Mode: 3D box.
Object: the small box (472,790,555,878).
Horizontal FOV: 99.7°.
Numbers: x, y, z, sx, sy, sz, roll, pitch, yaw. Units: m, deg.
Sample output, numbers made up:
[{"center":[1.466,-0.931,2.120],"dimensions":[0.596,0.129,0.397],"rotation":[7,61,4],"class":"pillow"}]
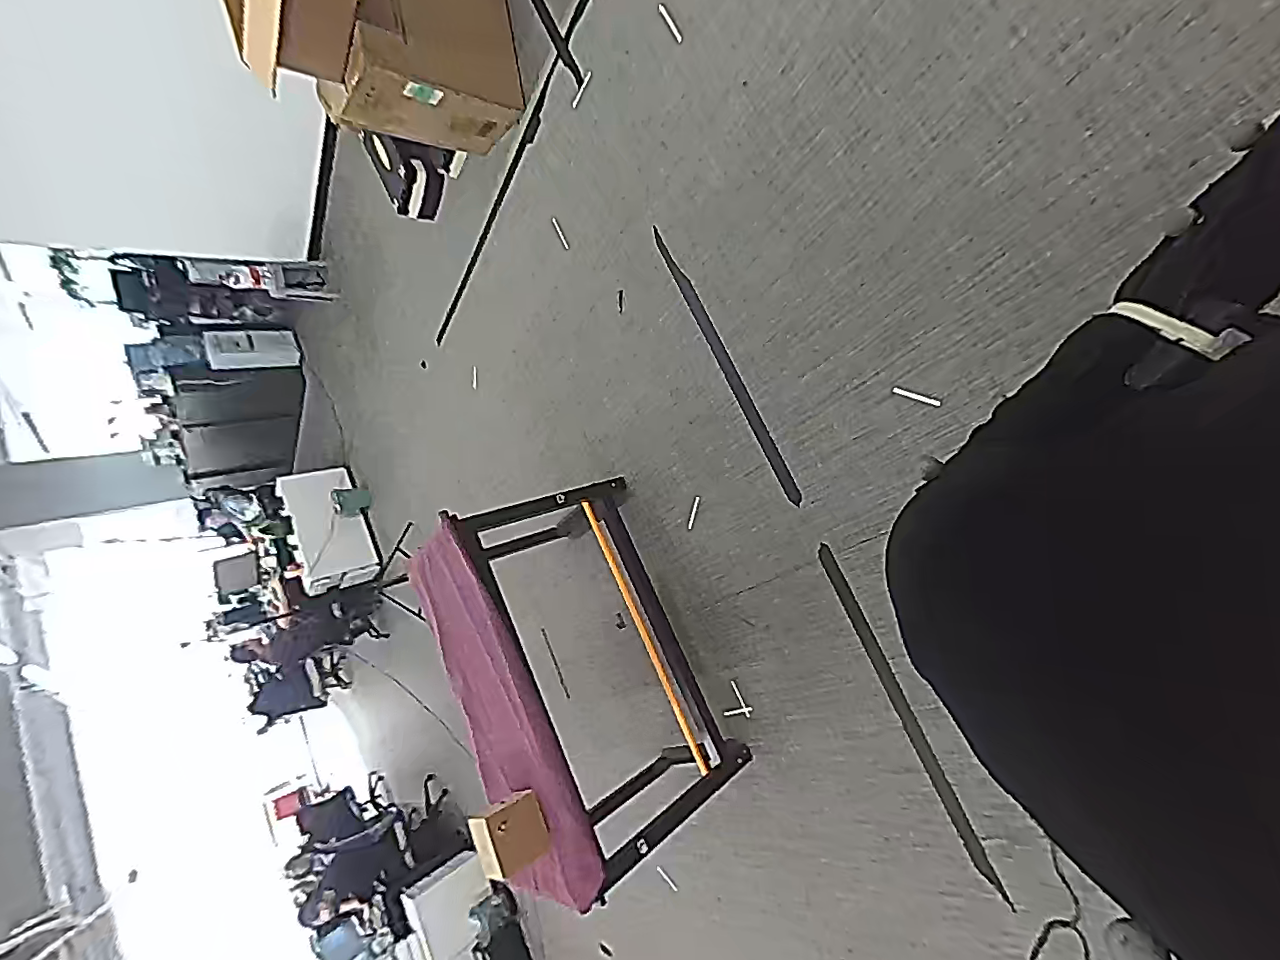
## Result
[{"center":[-0.388,1.077,1.663],"dimensions":[0.168,0.176,0.179],"rotation":[-42,67,47],"class":"small box"}]
